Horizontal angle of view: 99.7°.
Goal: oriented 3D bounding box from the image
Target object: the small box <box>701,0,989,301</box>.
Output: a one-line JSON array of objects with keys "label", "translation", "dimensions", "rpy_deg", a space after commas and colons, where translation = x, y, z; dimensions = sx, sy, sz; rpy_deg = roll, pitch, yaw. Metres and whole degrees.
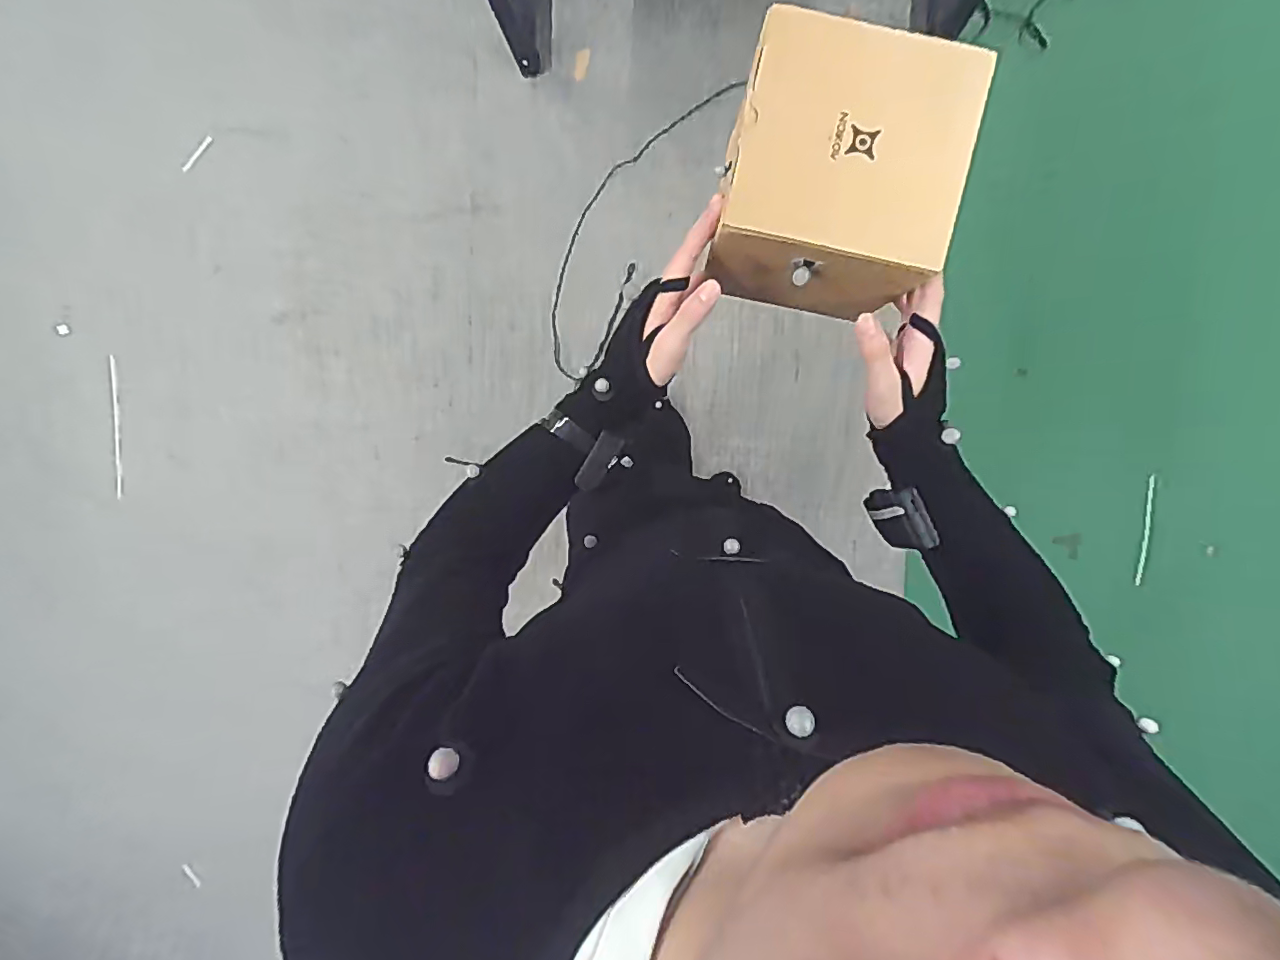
[{"label": "small box", "translation": [0.161, -0.274, 0.487], "dimensions": [0.179, 0.176, 0.168], "rpy_deg": [12, 93, 2]}]
